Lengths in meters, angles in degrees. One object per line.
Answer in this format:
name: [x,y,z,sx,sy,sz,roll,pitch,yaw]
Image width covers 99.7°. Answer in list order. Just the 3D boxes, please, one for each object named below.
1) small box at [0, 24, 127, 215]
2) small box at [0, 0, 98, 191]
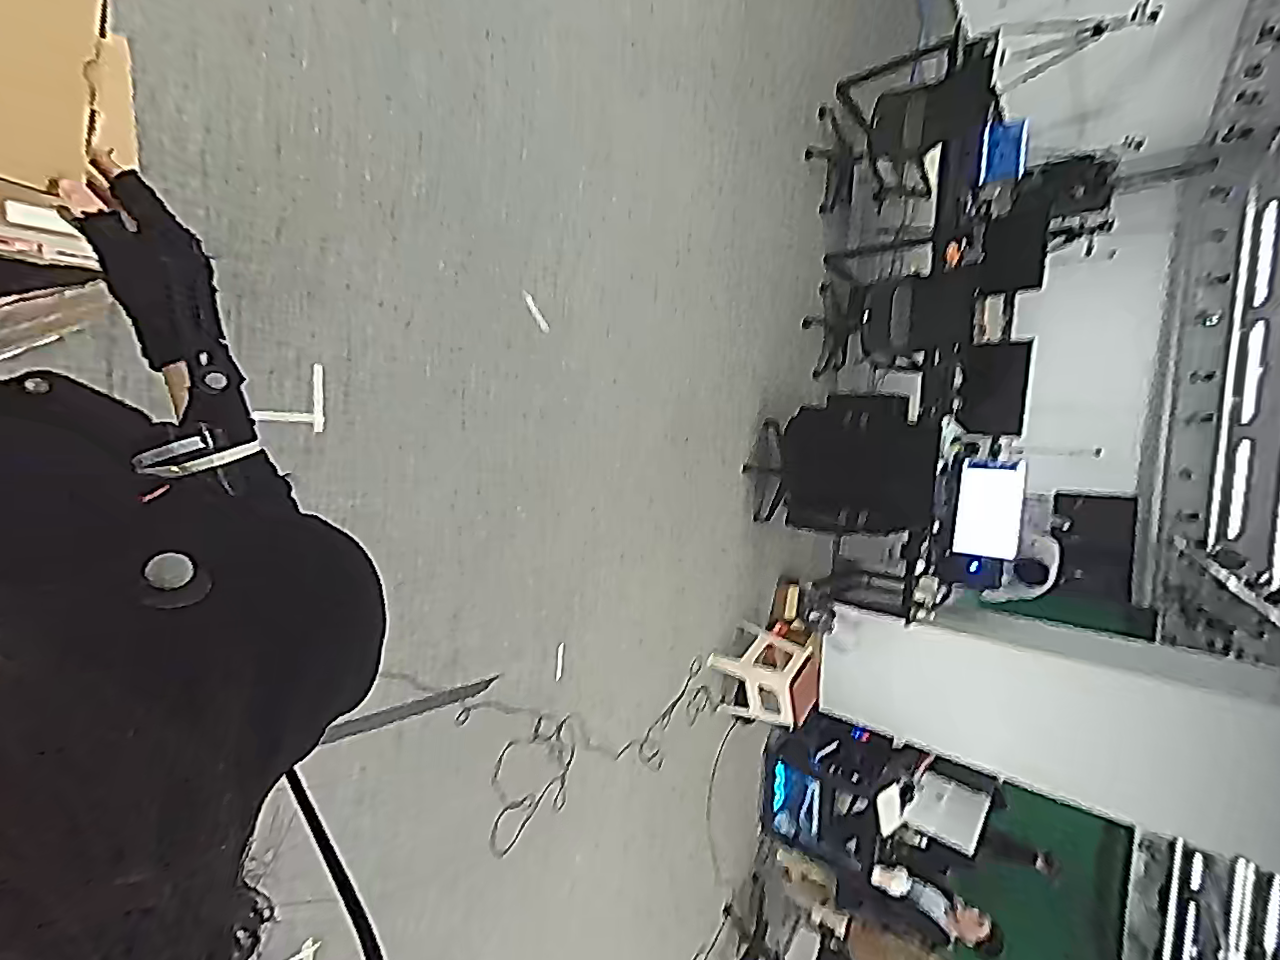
small box: [-0.722,-0.437,0.621,0.168,0.176,0.179,-4,96,-52]
small box: [-0.459,-0.293,0.309,0.179,0.176,0.168,-2,110,-59]
